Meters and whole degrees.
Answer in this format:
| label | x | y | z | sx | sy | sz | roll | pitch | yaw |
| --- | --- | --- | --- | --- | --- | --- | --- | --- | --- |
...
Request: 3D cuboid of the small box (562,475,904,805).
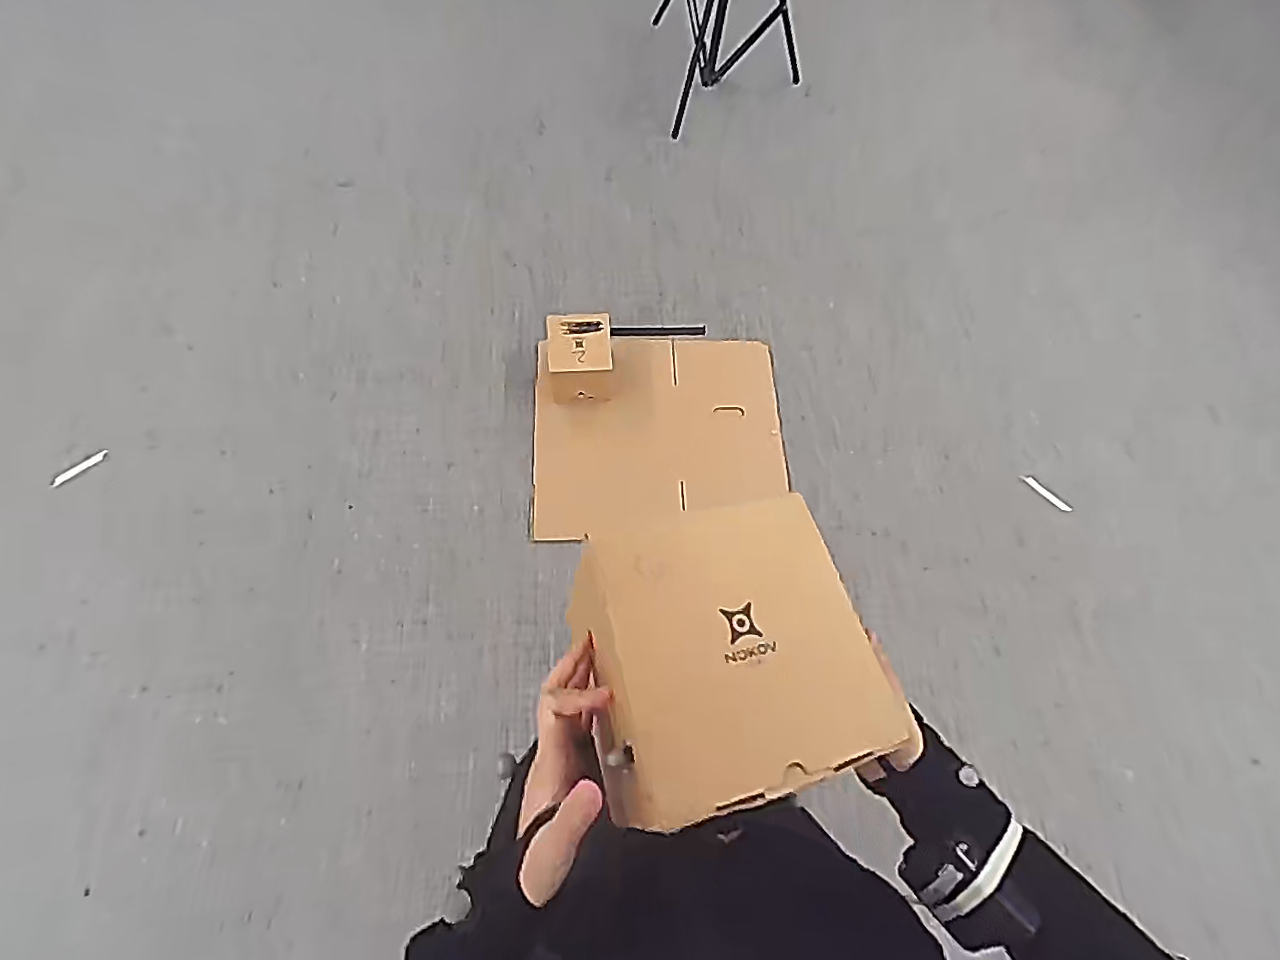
| label | x | y | z | sx | sy | sz | roll | pitch | yaw |
| --- | --- | --- | --- | --- | --- | --- | --- | --- | --- |
| small box | 0.042 | 0.120 | 0.400 | 0.168 | 0.176 | 0.179 | -9 | 64 | -18 |
